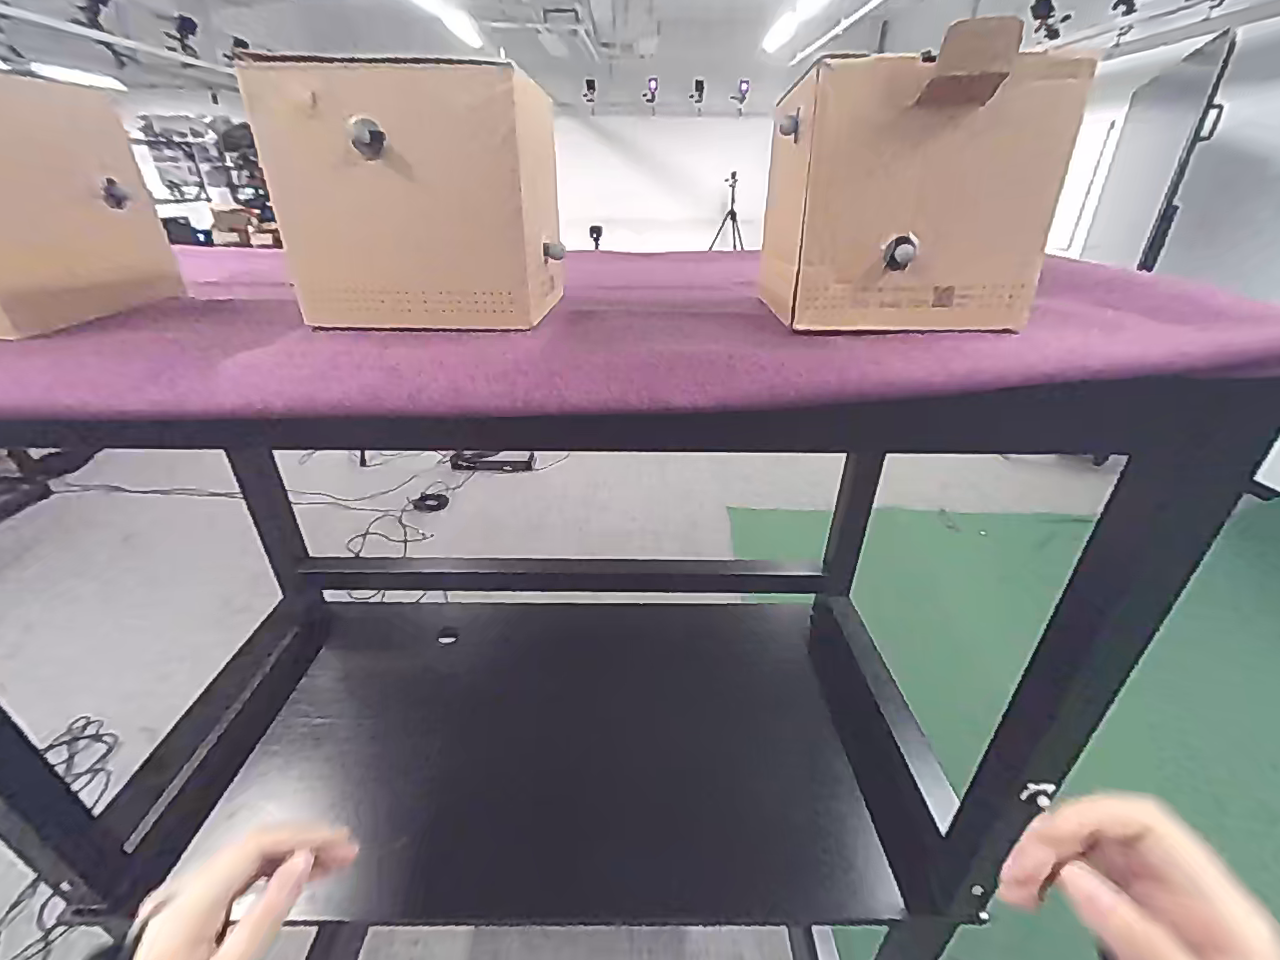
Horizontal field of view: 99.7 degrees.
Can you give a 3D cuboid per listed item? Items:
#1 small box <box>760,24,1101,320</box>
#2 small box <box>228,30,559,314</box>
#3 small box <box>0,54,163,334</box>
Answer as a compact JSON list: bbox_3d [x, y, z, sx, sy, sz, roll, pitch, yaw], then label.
[{"bbox_3d":[0.193,-0.229,0.428,0.168,0.176,0.179,0,27,3],"label":"small box"},{"bbox_3d":[-0.167,-0.232,0.436,0.179,0.176,0.168,1,28,0],"label":"small box"},{"bbox_3d":[-0.516,-0.214,0.404,0.168,0.176,0.179,-2,31,-3],"label":"small box"}]
